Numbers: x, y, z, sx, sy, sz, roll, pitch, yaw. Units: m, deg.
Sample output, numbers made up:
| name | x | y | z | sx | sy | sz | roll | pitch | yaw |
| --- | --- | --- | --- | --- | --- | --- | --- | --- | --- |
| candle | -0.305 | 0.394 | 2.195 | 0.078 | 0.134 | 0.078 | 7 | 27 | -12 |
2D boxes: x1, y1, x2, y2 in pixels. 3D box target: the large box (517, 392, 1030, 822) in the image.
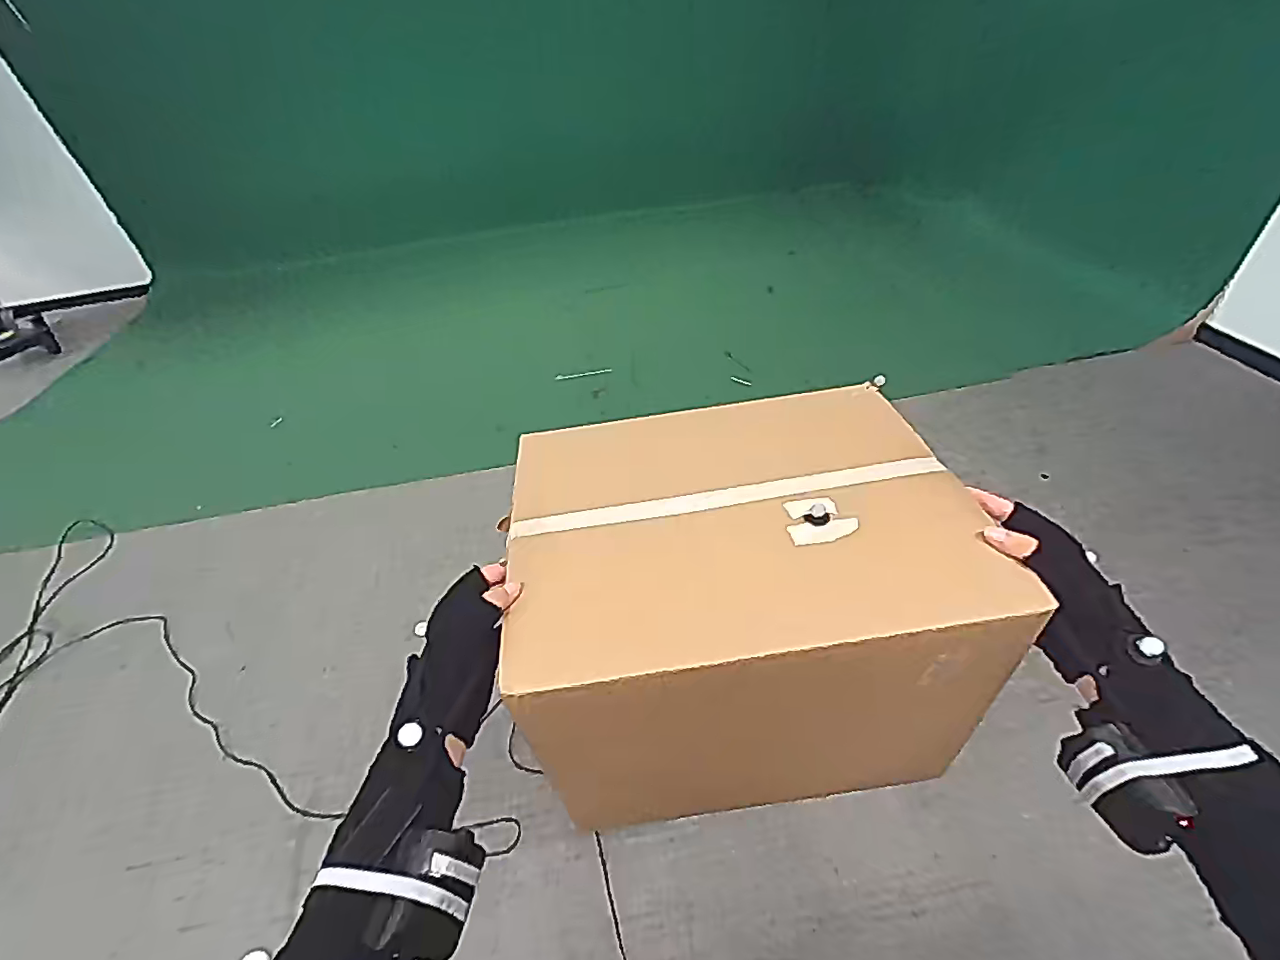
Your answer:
| name | x | y | z | sx | sy | sz | roll | pitch | yaw |
| --- | --- | --- | --- | --- | --- | --- | --- | --- | --- |
| large box | 0.098 | 0.135 | 0.610 | 0.408 | 0.320 | 0.320 | -8 | 42 | -1 |
